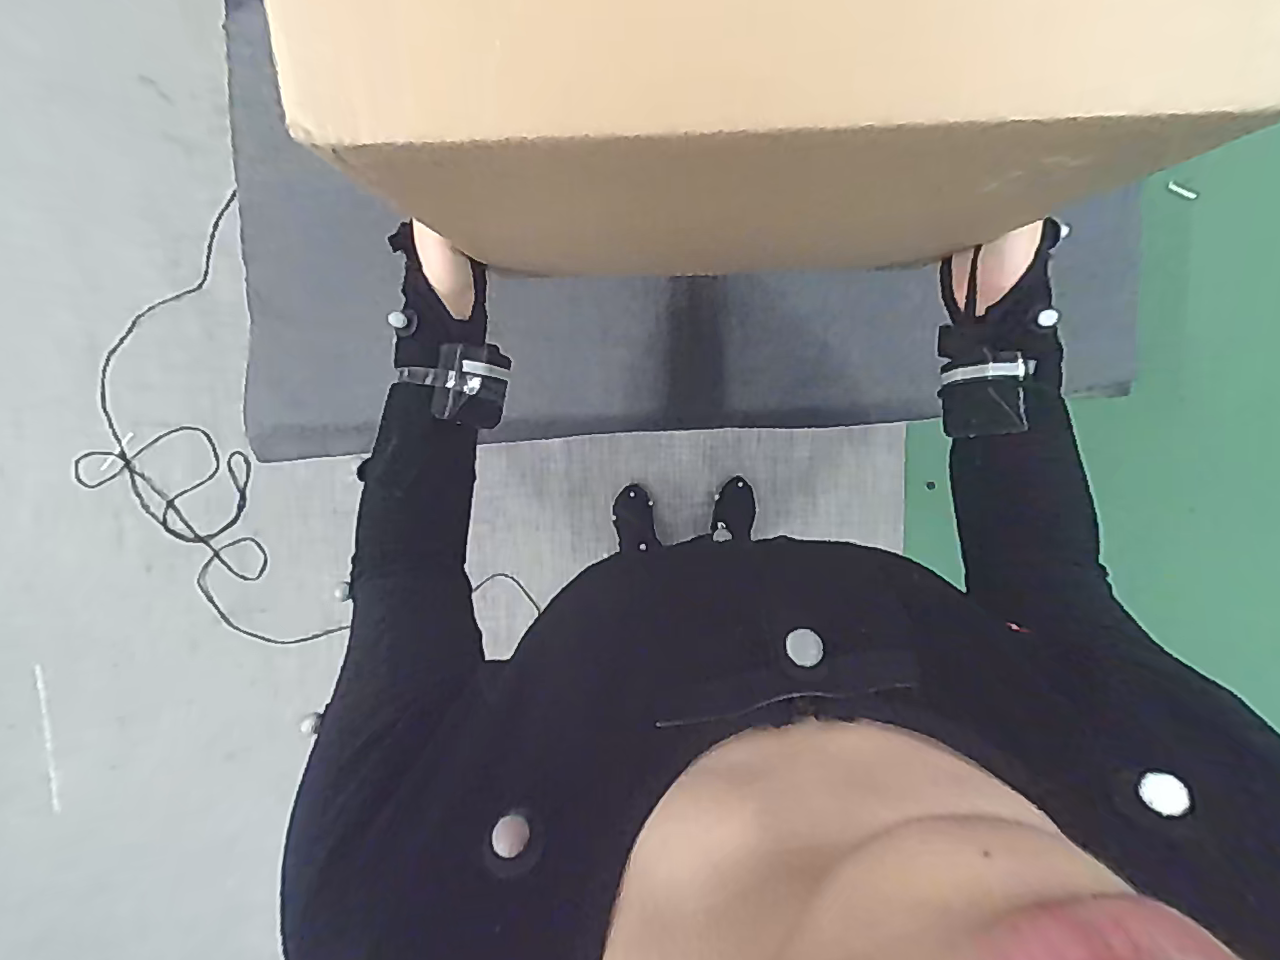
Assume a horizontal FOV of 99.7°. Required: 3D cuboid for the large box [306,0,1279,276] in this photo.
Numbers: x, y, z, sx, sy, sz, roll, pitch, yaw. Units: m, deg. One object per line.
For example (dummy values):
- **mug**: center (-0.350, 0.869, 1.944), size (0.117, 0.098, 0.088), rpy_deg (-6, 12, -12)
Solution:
- **large box**: center (0.056, -0.327, 0.347), size (0.408, 0.320, 0.320), rpy_deg (-2, 102, 1)
